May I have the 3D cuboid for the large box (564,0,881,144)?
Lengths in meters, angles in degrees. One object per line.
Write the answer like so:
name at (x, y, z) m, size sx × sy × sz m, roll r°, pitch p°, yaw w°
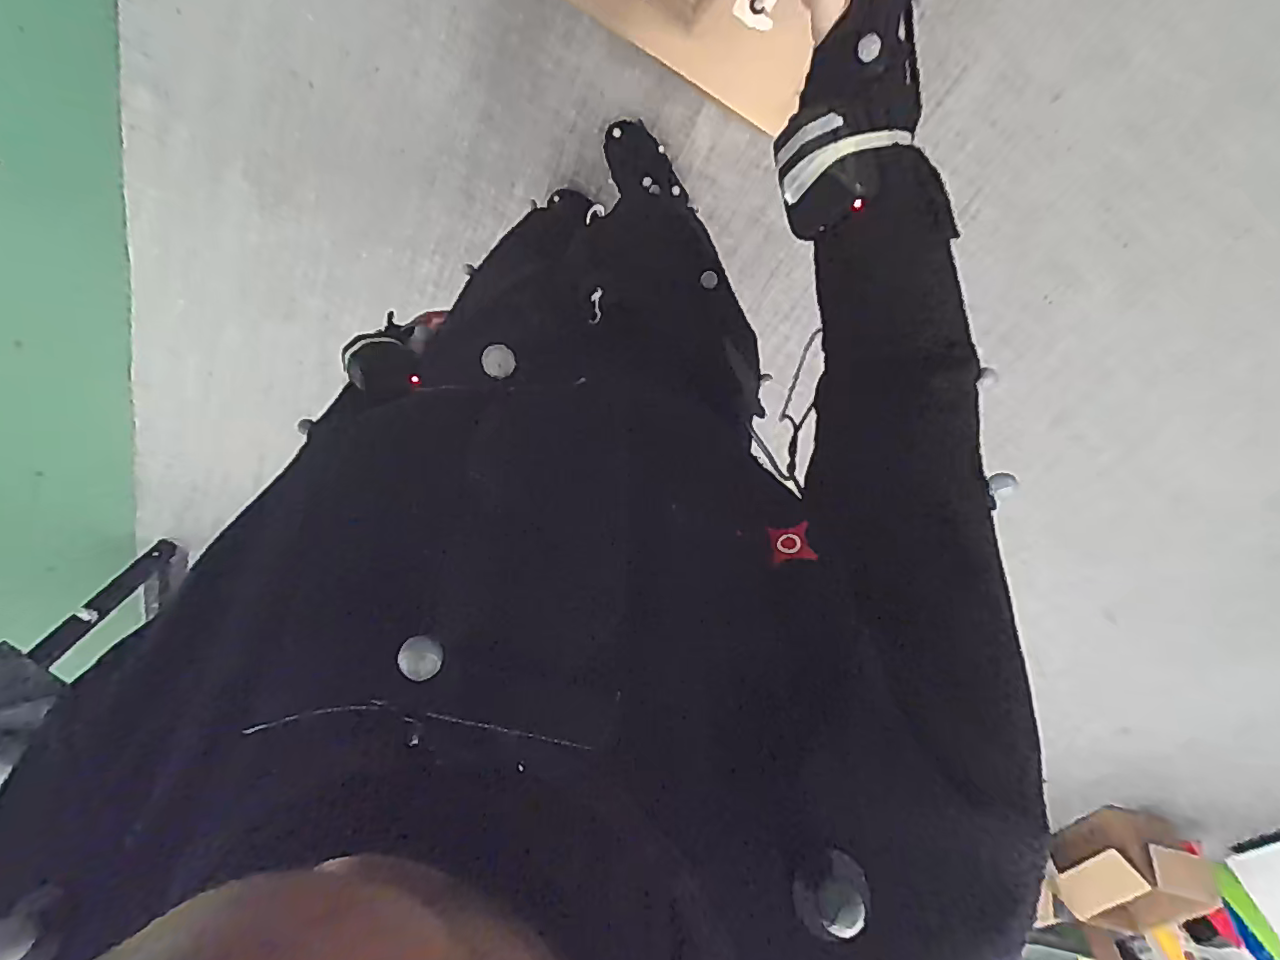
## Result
large box at (0.133, -0.772, 0.803) m, size 0.408 × 0.320 × 0.320 m, roll 25°, pitch 125°, yaw -13°

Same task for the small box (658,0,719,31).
small box at (0.050, -0.546, 0.471) m, size 0.168 × 0.176 × 0.179 m, roll 38°, pitch 120°, yaw -20°
